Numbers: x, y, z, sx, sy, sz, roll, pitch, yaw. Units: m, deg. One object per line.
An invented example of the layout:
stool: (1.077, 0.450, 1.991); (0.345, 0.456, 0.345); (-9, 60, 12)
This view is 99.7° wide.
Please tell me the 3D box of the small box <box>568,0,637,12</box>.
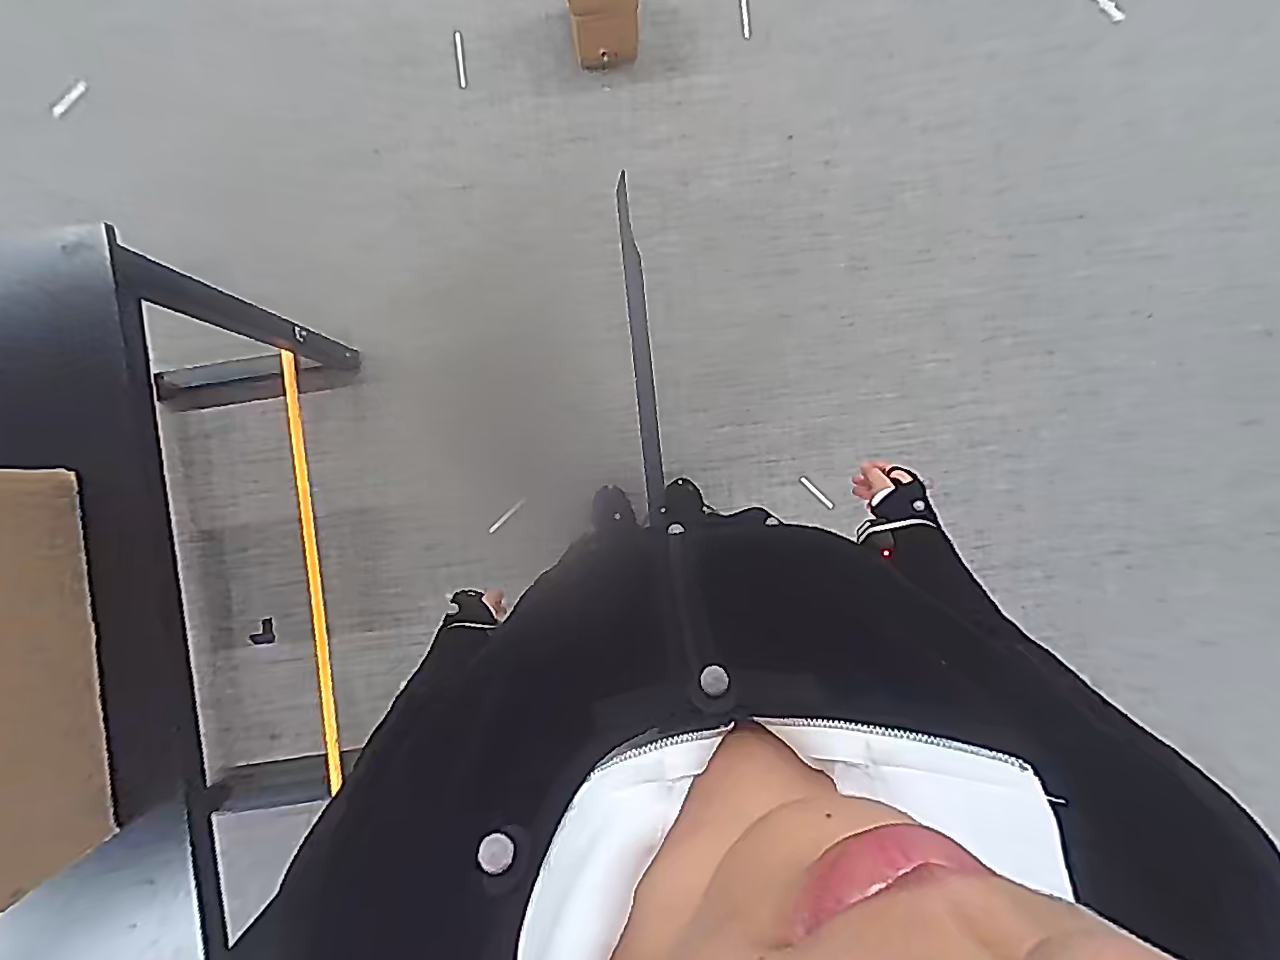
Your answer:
small box: (-0.099, -1.237, 1.253); (0.179, 0.176, 0.168); (-8, 90, 0)

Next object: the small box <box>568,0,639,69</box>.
small box: (-0.099, -1.237, 1.418); (0.168, 0.176, 0.179); (-12, 91, 0)
